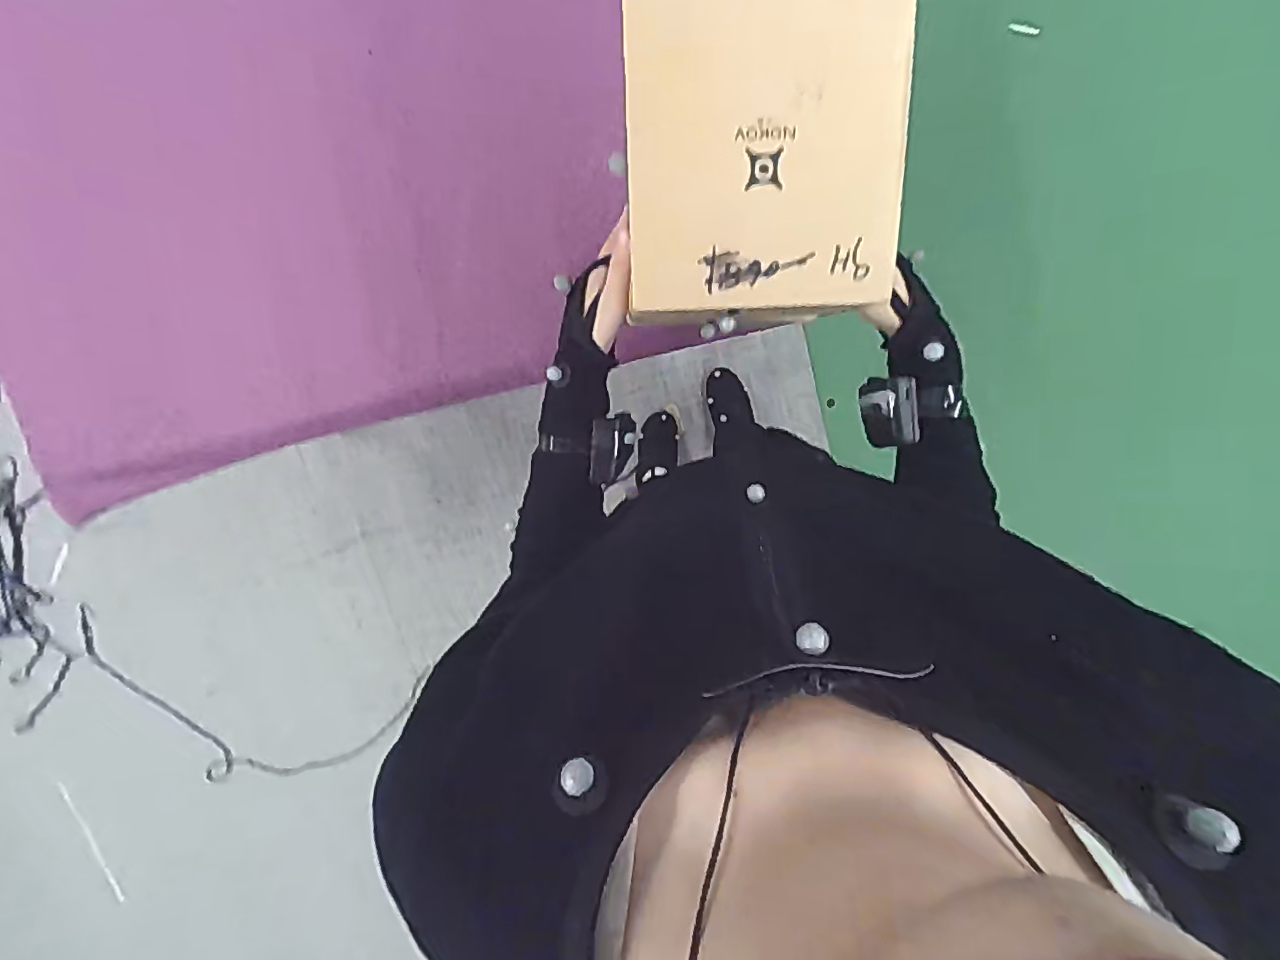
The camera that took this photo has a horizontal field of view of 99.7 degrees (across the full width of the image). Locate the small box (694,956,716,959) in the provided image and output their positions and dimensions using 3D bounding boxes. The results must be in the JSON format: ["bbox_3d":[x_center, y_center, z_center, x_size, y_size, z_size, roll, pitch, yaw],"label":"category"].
[{"bbox_3d":[0.149,1.417,1.428,0.179,0.176,0.168,-19,95,6],"label":"small box"}]

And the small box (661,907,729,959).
[{"bbox_3d":[0.162,1.407,1.591,0.168,0.176,0.179,-20,97,6],"label":"small box"}]

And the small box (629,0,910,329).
[{"bbox_3d":[0.076,-0.209,0.405,0.168,0.176,0.179,-1,103,2],"label":"small box"}]
